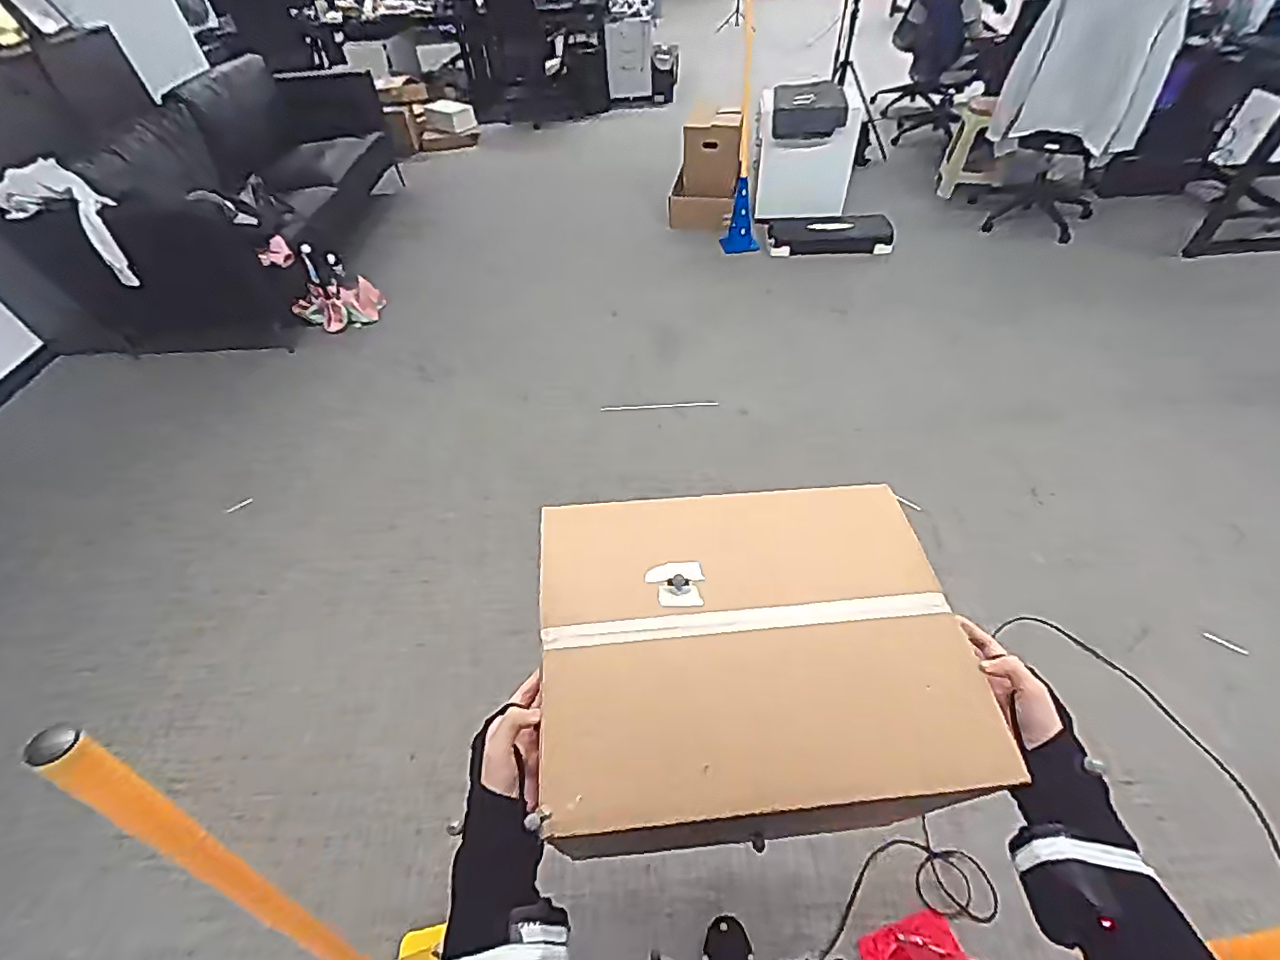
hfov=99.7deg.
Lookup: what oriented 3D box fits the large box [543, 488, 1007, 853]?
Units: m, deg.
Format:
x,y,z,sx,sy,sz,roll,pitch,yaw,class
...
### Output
x,y,z,sx,sy,sz,roll,pitch,yaw,class
0.105,0.237,0.655,0.408,0.320,0.320,-5,52,-4,large box
